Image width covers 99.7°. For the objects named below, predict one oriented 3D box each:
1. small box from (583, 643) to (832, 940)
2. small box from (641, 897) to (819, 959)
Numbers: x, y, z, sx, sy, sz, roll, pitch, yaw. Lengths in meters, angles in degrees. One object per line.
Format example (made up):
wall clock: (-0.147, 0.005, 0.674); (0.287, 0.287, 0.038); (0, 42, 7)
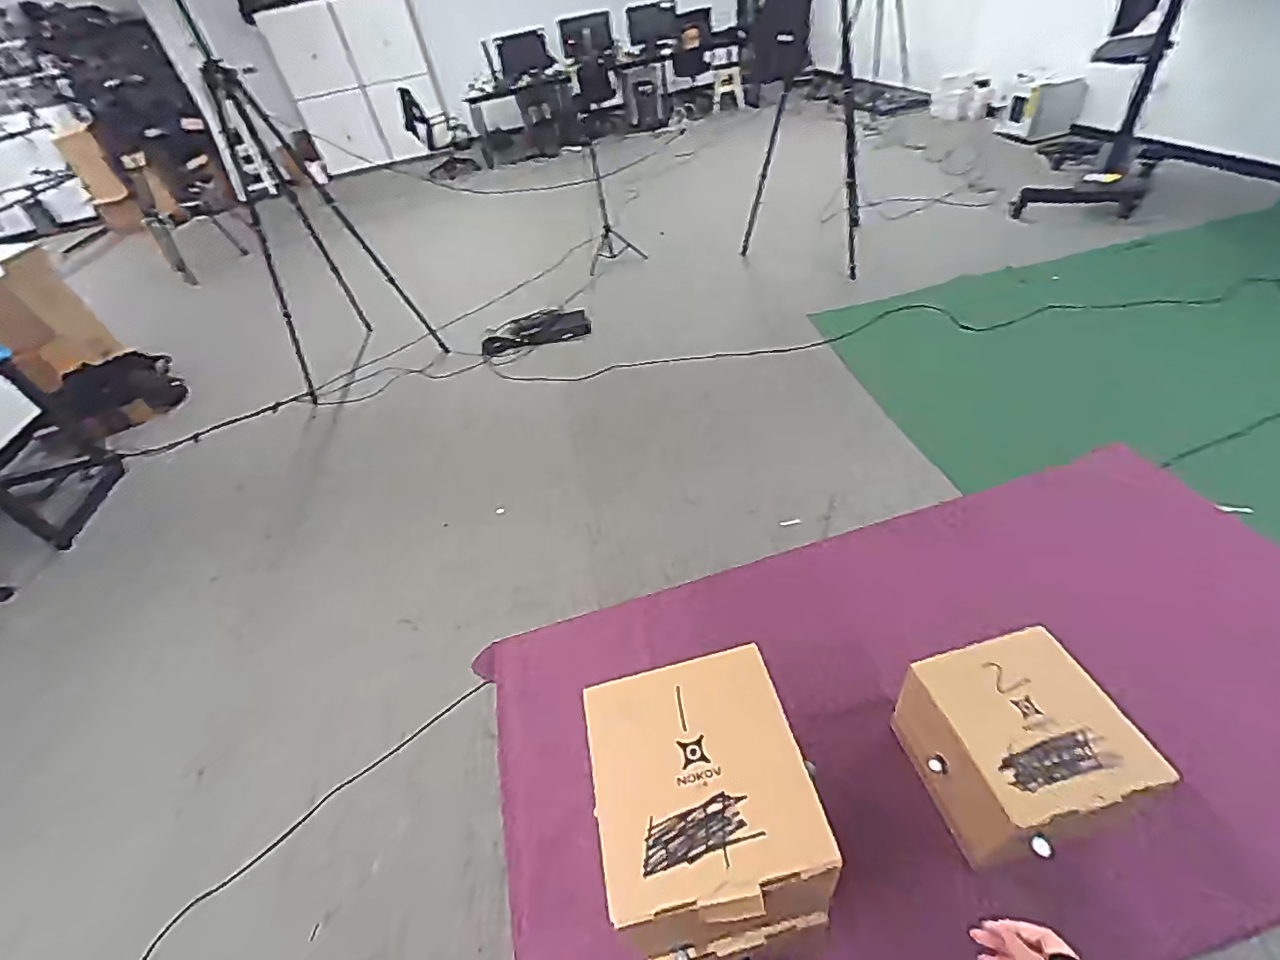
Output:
small box: (0.054, 0.282, 0.485); (0.168, 0.176, 0.179); (-13, 42, -2)
small box: (0.079, 0.405, 0.592); (0.168, 0.176, 0.179); (-14, 44, -3)
